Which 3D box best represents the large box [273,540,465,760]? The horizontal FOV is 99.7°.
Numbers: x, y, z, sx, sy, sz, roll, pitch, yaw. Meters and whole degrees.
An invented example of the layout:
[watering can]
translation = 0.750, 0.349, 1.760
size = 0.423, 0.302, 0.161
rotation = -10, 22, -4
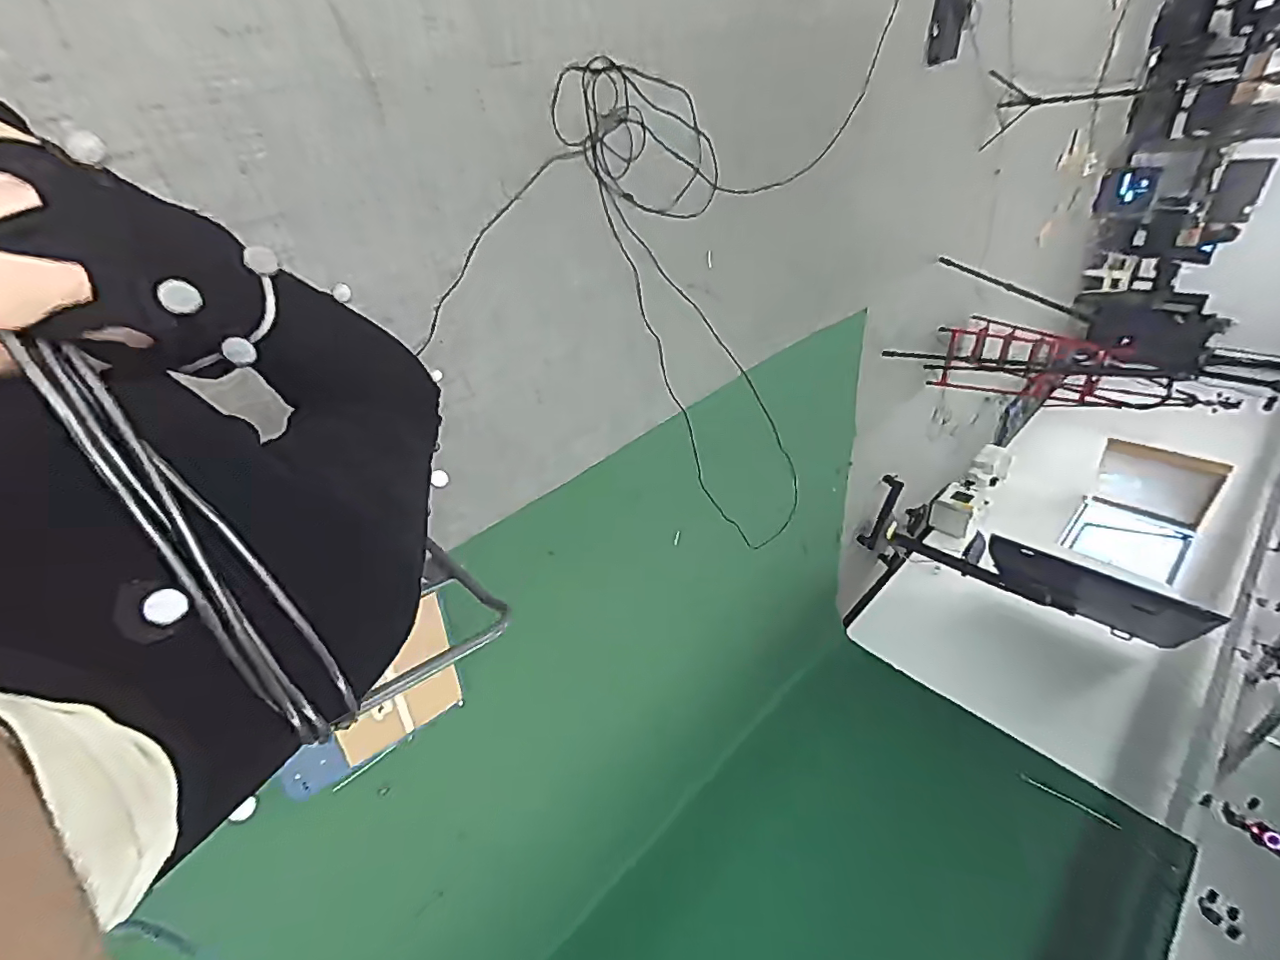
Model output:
[large box]
translation = -0.724, 0.443, 1.469
size = 0.320, 0.320, 0.408
rotation = -24, 127, -36
